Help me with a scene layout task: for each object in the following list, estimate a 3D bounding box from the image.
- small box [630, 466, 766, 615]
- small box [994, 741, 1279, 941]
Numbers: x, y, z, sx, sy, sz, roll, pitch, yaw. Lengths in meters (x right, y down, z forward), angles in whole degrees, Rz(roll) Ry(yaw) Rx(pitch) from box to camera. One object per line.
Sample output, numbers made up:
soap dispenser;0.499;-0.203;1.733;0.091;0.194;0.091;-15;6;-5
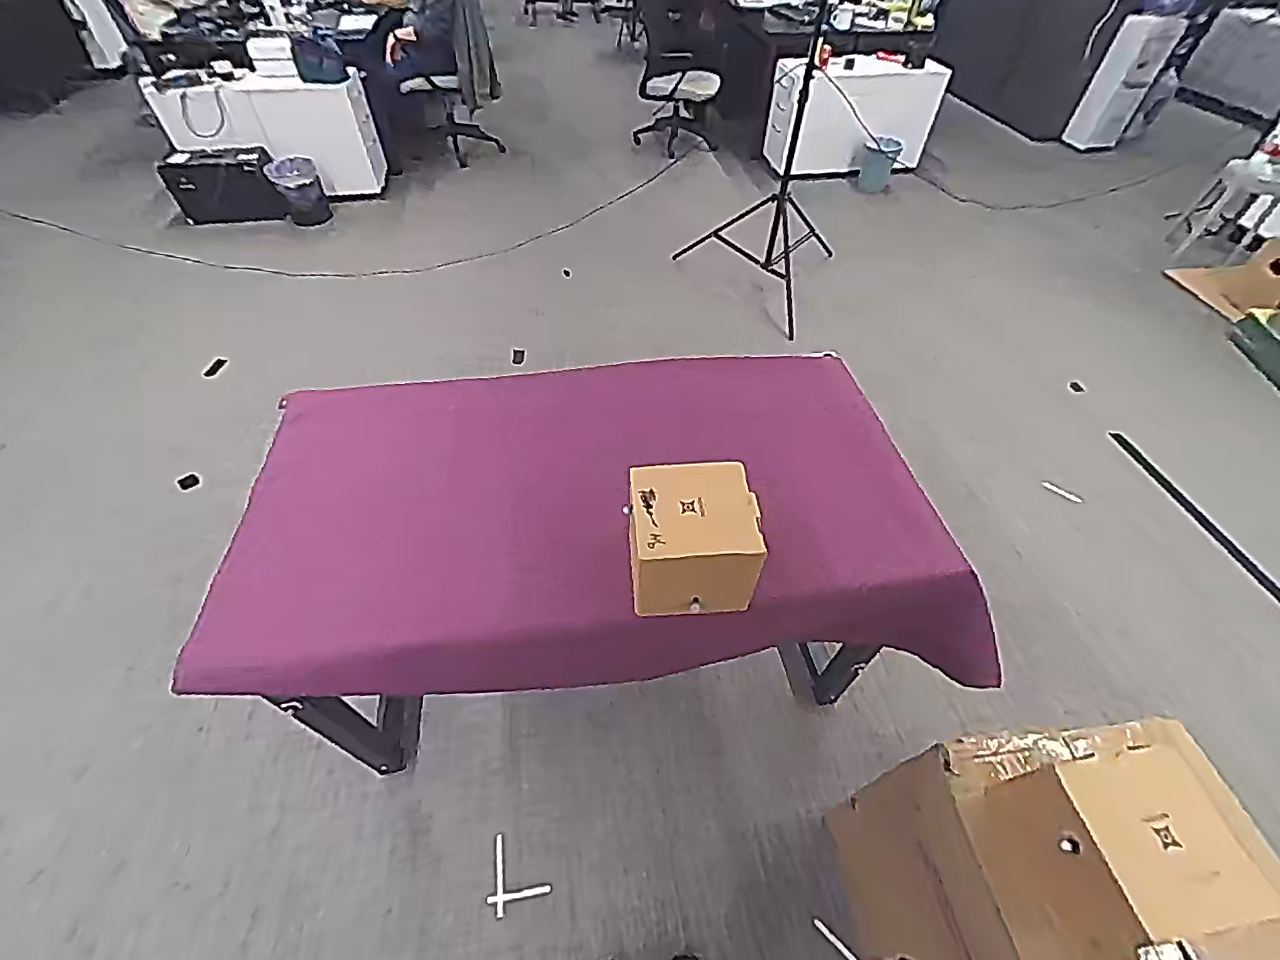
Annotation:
small box;0.077;0.095;0.833;0.179;0.176;0.168;-2;49;-4
small box;0.593;0.450;0.675;0.168;0.176;0.179;-7;51;-5
